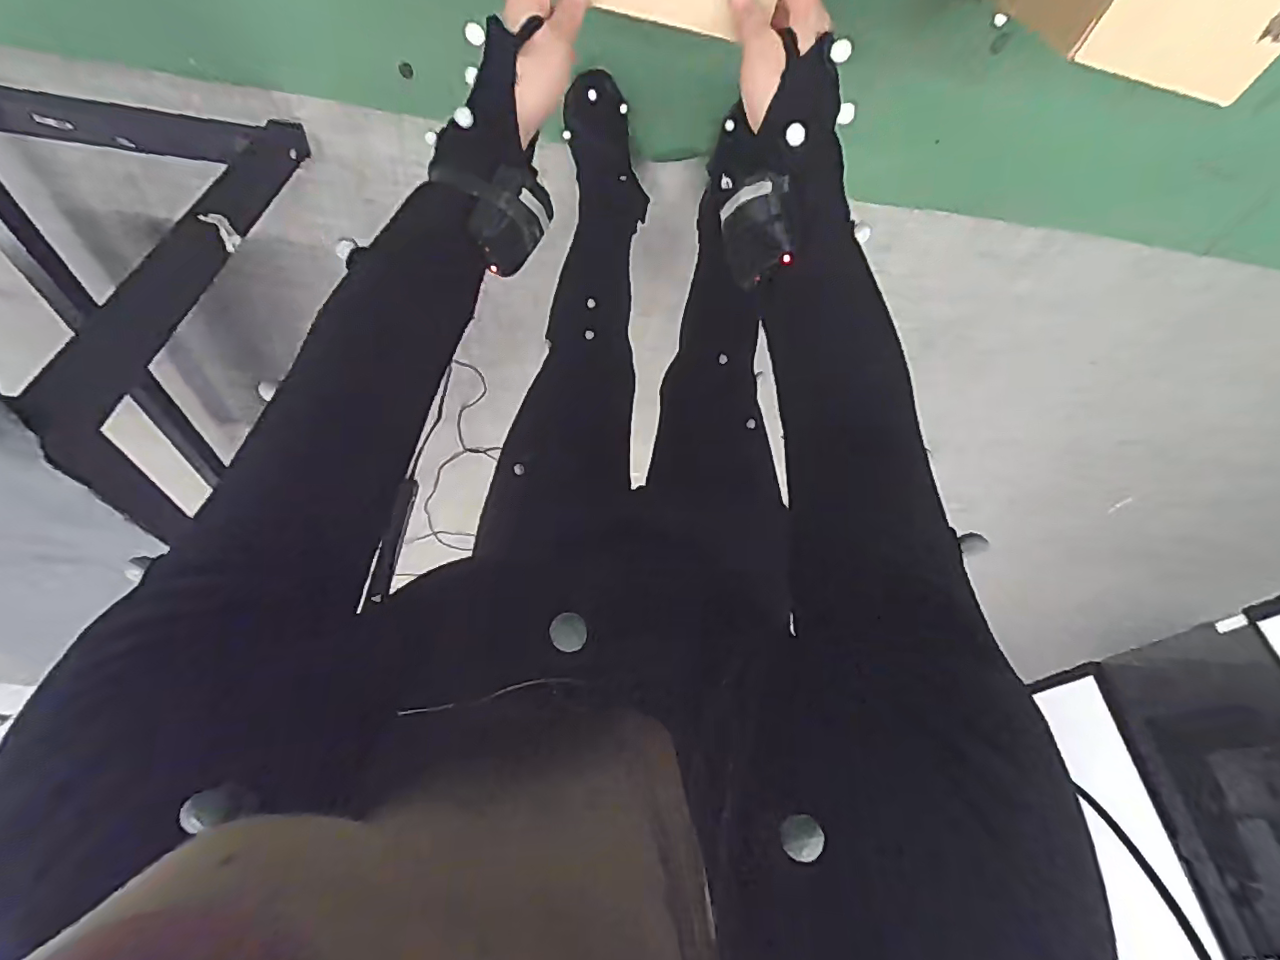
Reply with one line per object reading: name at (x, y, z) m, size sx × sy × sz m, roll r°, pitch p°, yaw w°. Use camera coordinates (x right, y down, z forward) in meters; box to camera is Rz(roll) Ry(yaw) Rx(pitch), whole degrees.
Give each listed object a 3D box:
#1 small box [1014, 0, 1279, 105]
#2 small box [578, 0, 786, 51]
small box at (0.475, -0.464, 0.463) m, size 0.179 × 0.176 × 0.168 m, roll 8°, pitch 144°, yaw -9°
small box at (0.038, -0.470, 0.415) m, size 0.168 × 0.176 × 0.179 m, roll 6°, pitch 136°, yaw -10°
